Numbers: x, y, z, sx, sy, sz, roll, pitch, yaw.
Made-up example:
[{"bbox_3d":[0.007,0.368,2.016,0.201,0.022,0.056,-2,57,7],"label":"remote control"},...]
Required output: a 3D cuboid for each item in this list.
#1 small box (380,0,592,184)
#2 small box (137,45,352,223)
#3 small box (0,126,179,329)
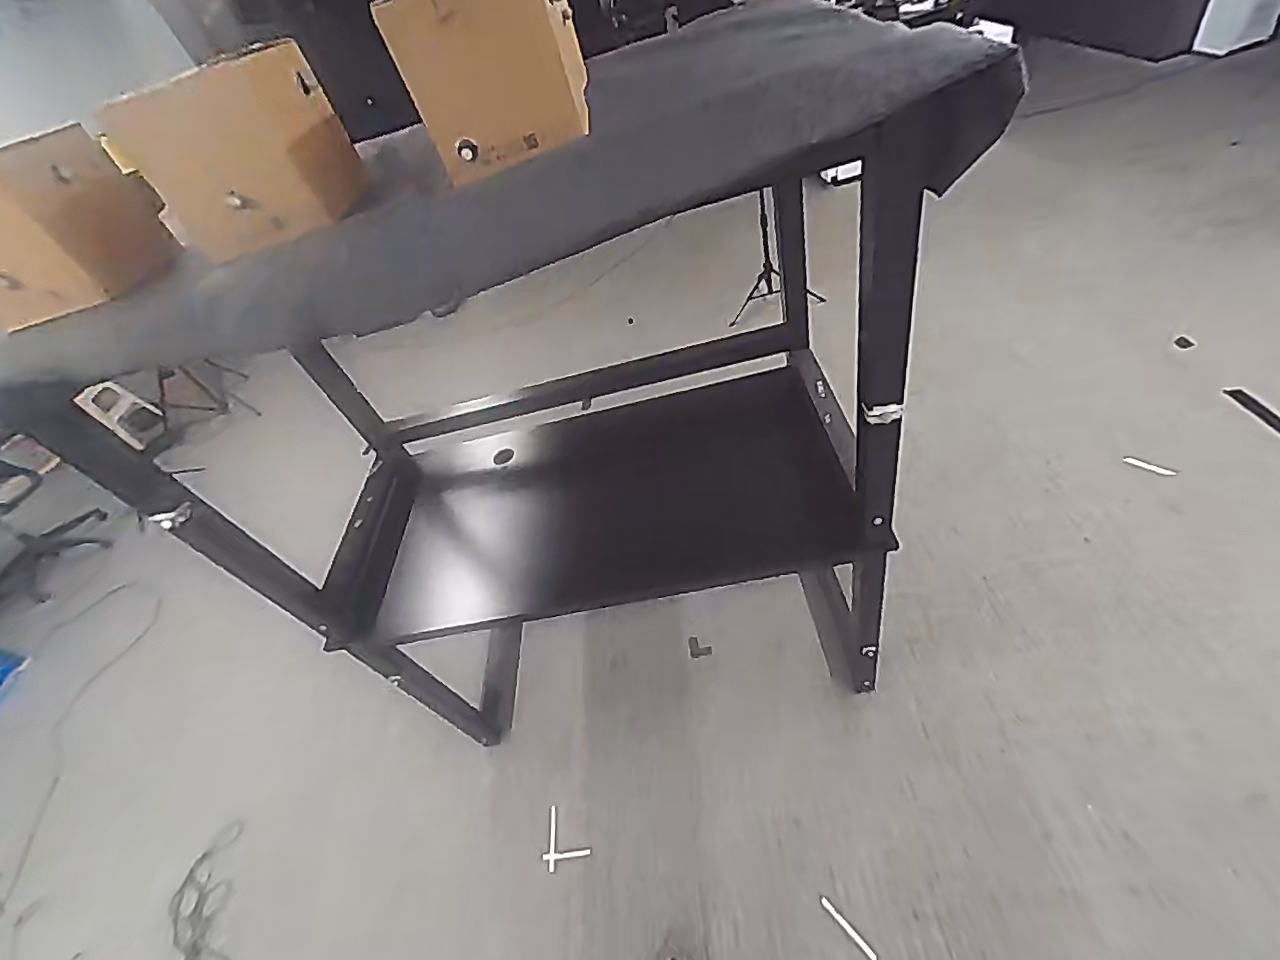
[{"bbox_3d":[-0.158,-0.467,0.622,0.168,0.176,0.179,-13,44,7],"label":"small box"},{"bbox_3d":[-0.584,-0.527,0.830,0.179,0.176,0.168,-14,45,6],"label":"small box"},{"bbox_3d":[-0.759,-0.322,0.697,0.168,0.176,0.179,-14,44,6],"label":"small box"}]
